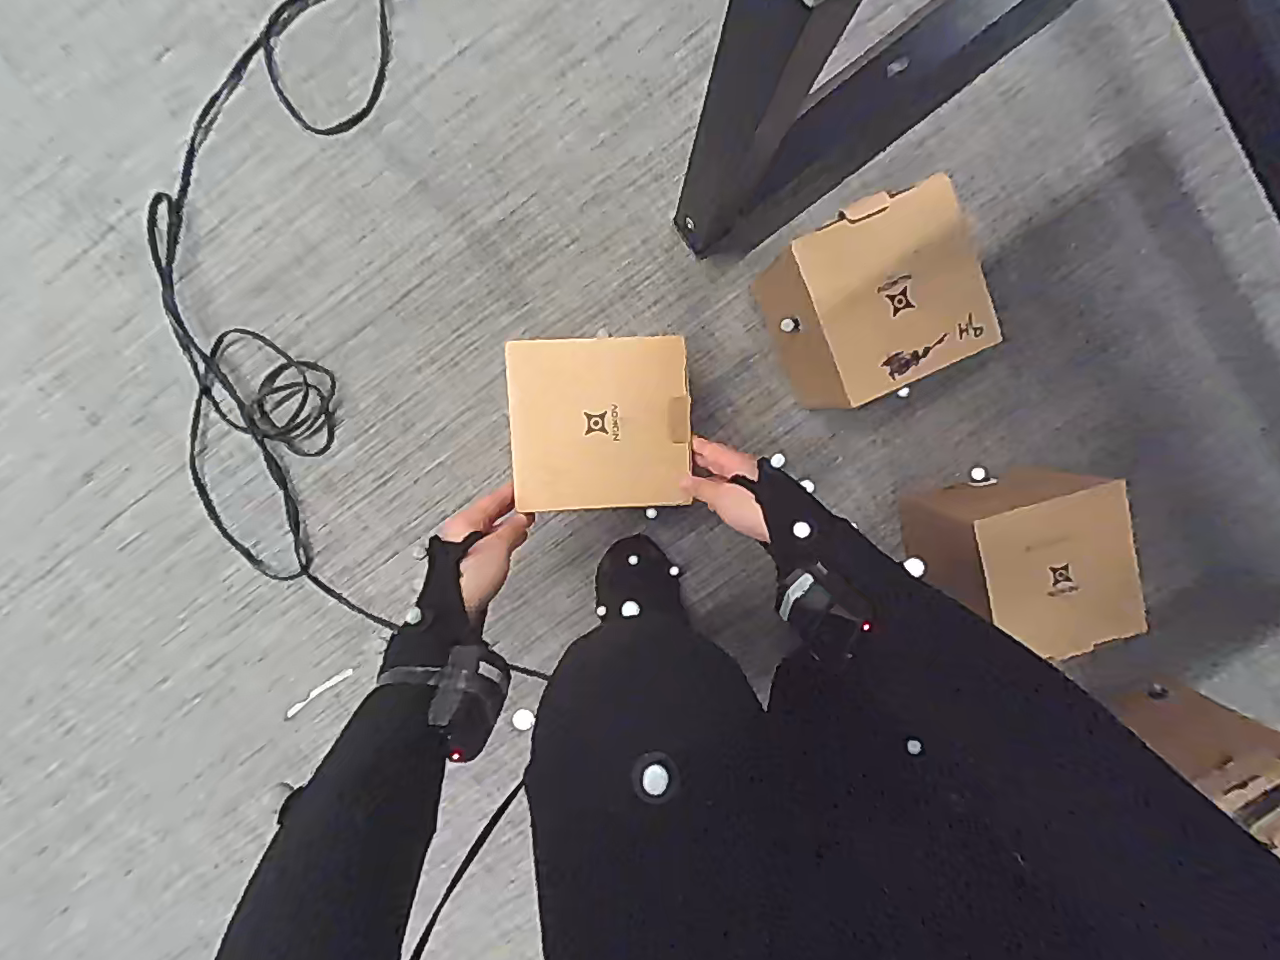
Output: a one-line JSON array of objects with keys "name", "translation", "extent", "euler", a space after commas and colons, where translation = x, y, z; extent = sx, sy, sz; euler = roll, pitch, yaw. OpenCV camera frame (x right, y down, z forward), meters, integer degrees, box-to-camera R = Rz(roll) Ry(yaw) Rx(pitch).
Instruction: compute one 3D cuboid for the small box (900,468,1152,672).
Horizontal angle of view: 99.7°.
[{"name": "small box", "translation": [0.442, 0.094, 0.645], "extent": [0.168, 0.176, 0.179], "euler": [-16, 96, 0]}]
